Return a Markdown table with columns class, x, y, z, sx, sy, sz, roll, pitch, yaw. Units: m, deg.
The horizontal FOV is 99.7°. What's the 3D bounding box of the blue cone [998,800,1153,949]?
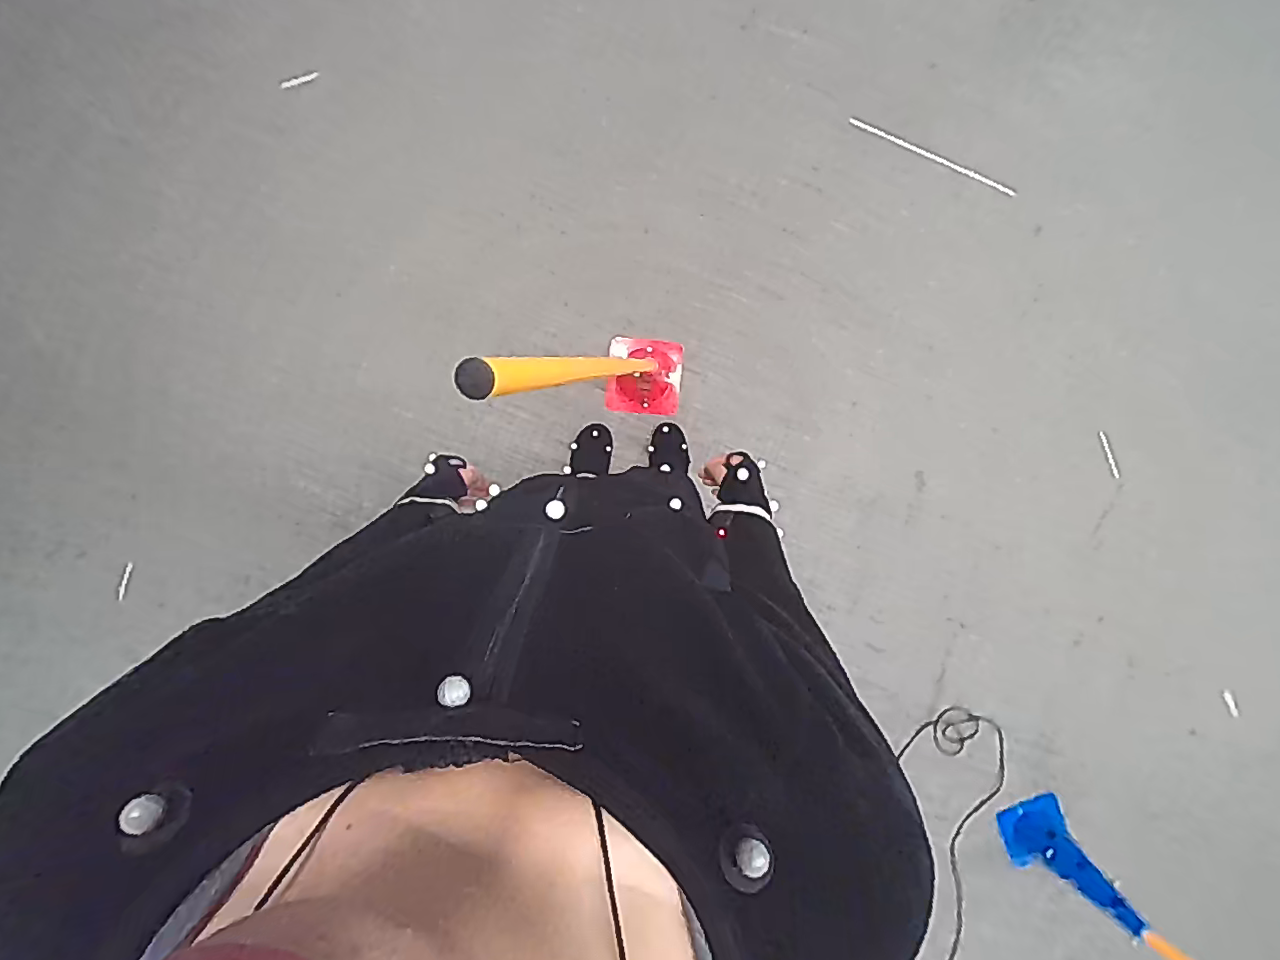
| class | x | y | z | sx | sy | sz | roll | pitch | yaw |
| --- | --- | --- | --- | --- | --- | --- | --- | --- | --- |
| blue cone | 1.211 | 1.099 | 1.492 | 0.193 | 0.380 | 0.192 | -25 | 96 | -2 |
